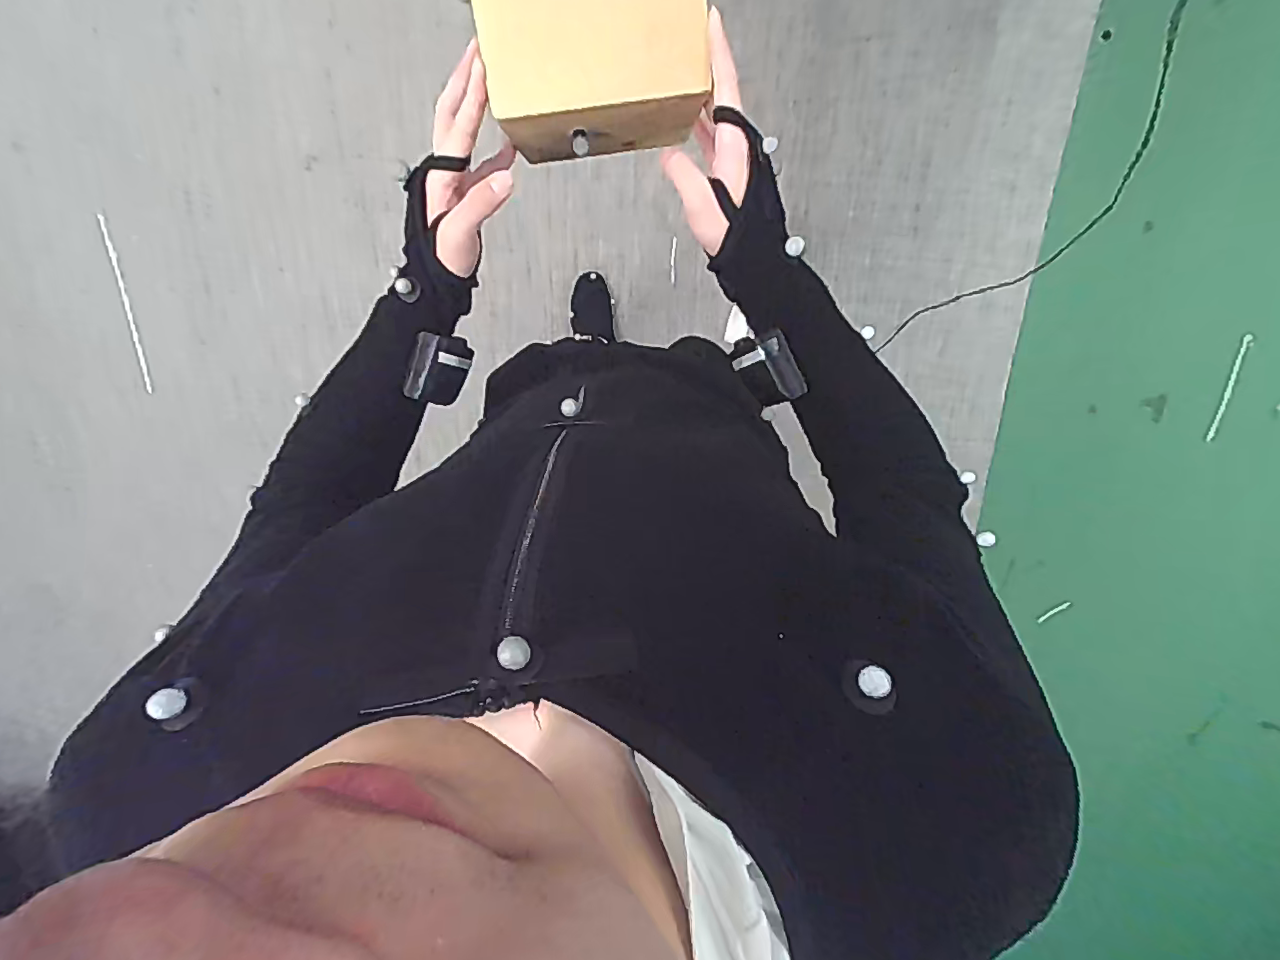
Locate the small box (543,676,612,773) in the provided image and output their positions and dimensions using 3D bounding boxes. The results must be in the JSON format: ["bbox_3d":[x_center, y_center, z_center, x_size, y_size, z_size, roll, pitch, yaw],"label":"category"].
[{"bbox_3d":[-0.167,0.665,1.483,0.168,0.176,0.179,7,107,-3],"label":"small box"}]

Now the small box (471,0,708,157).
[{"bbox_3d":[-0.040,-0.384,0.445,0.168,0.176,0.179,-7,109,1],"label":"small box"}]
